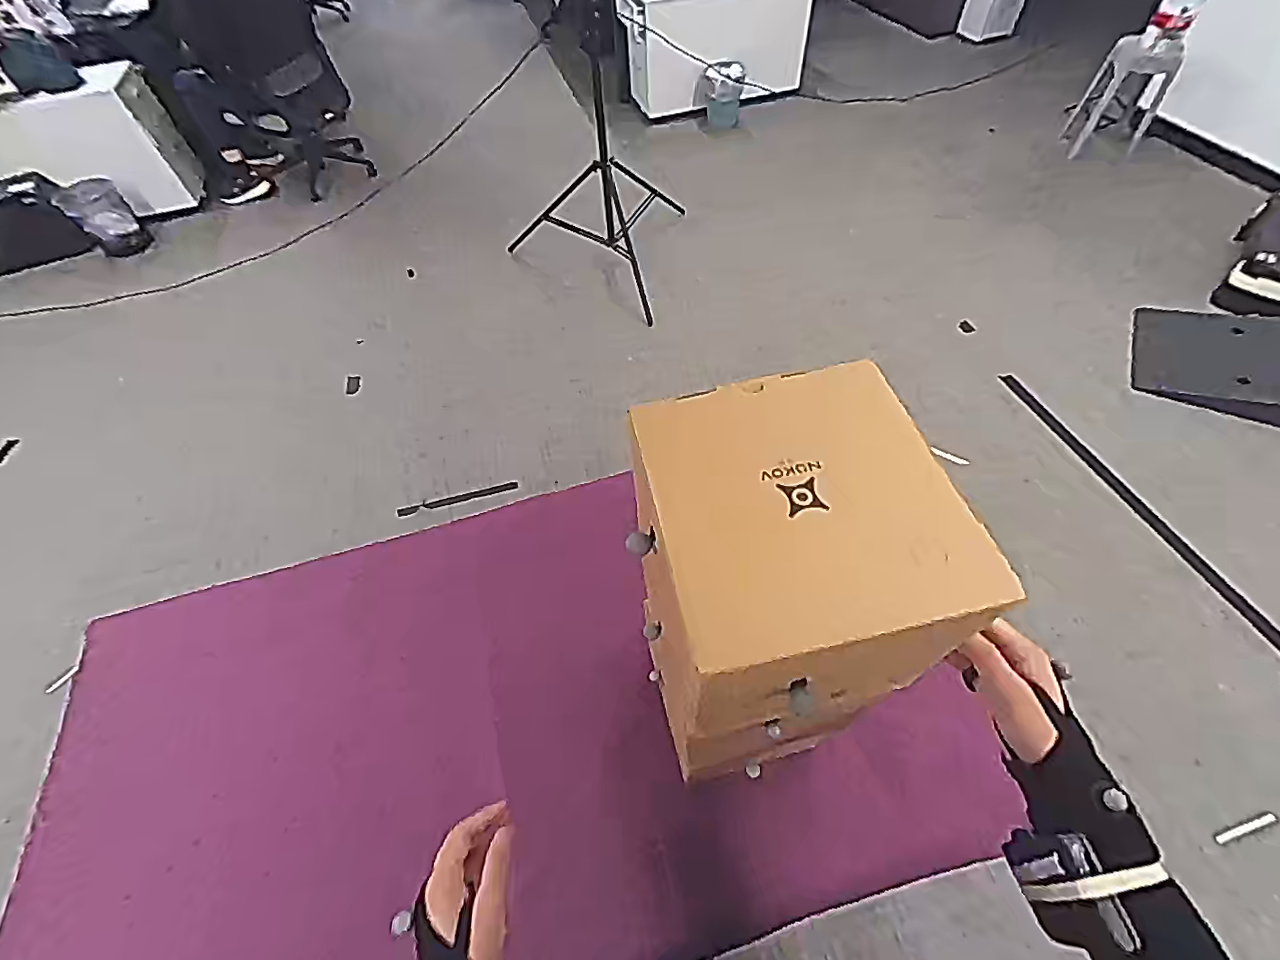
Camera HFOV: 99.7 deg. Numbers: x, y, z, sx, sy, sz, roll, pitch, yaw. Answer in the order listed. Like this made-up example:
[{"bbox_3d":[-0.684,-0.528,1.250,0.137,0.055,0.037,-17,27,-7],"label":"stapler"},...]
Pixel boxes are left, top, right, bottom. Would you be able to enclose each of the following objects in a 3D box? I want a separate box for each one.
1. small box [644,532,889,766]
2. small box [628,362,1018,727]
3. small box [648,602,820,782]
[{"bbox_3d":[0.101,0.143,0.504,0.168,0.176,0.179,-12,54,-4],"label":"small box"},{"bbox_3d":[0.094,0.053,0.367,0.168,0.176,0.179,-12,54,-4],"label":"small box"},{"bbox_3d":[0.109,0.234,0.640,0.168,0.176,0.179,-13,55,-5],"label":"small box"}]
